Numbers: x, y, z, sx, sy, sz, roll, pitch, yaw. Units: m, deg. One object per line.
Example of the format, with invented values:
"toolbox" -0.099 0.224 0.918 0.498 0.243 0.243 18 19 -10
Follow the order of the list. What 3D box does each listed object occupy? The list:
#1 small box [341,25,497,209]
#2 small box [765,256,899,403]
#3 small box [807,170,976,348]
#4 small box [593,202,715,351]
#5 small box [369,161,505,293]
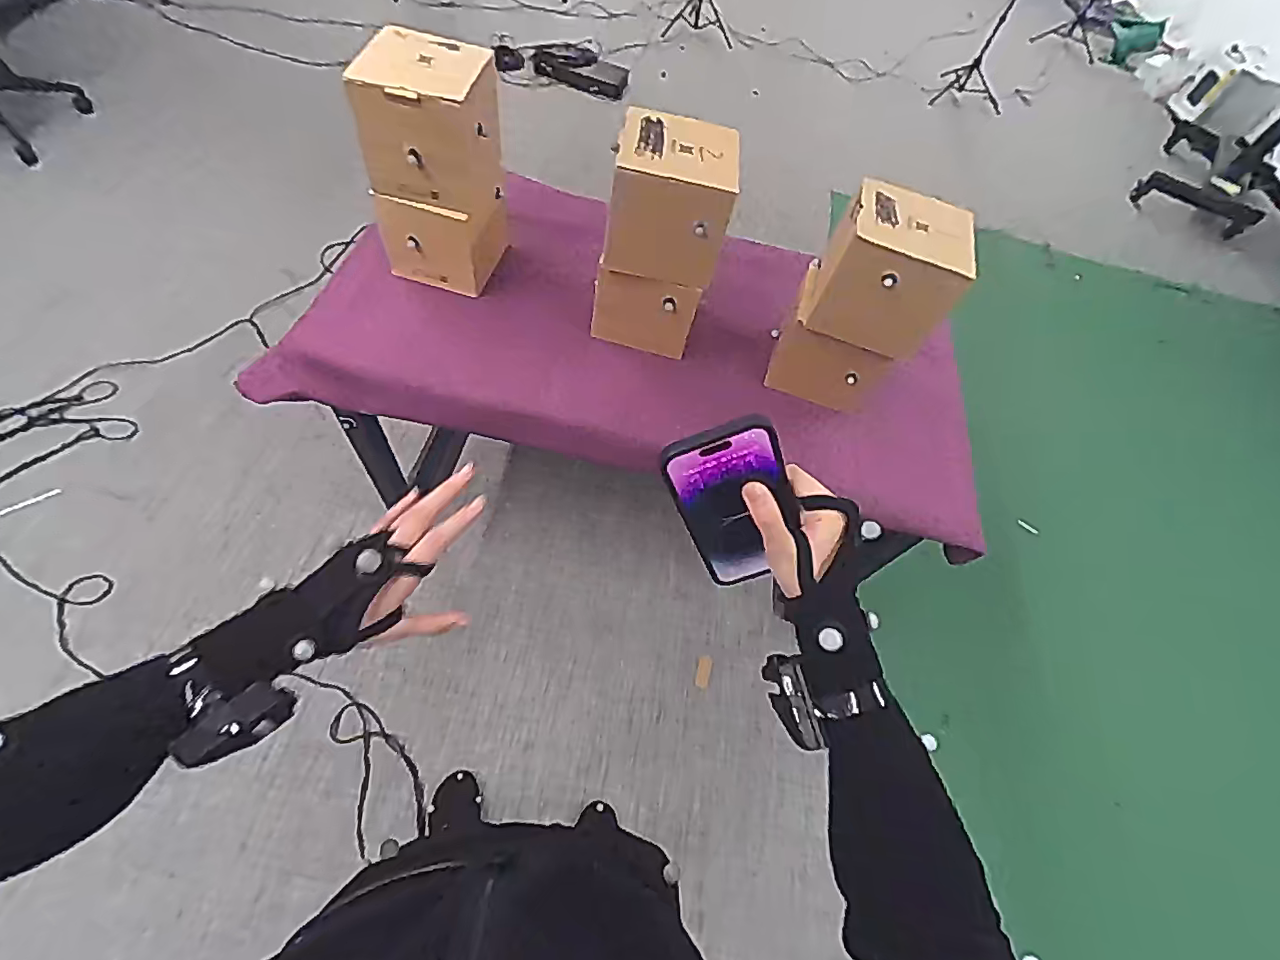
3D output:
"small box" -0.329 -0.561 0.849 0.168 0.176 0.179 11 59 -4
"small box" 0.349 -0.264 0.978 0.179 0.176 0.168 19 58 3
"small box" 0.377 -0.332 0.830 0.179 0.176 0.168 19 58 2
"small box" 0.022 -0.360 0.979 0.179 0.176 0.168 14 58 -1
"small box" -0.353 -0.472 0.984 0.168 0.176 0.179 15 58 -1
